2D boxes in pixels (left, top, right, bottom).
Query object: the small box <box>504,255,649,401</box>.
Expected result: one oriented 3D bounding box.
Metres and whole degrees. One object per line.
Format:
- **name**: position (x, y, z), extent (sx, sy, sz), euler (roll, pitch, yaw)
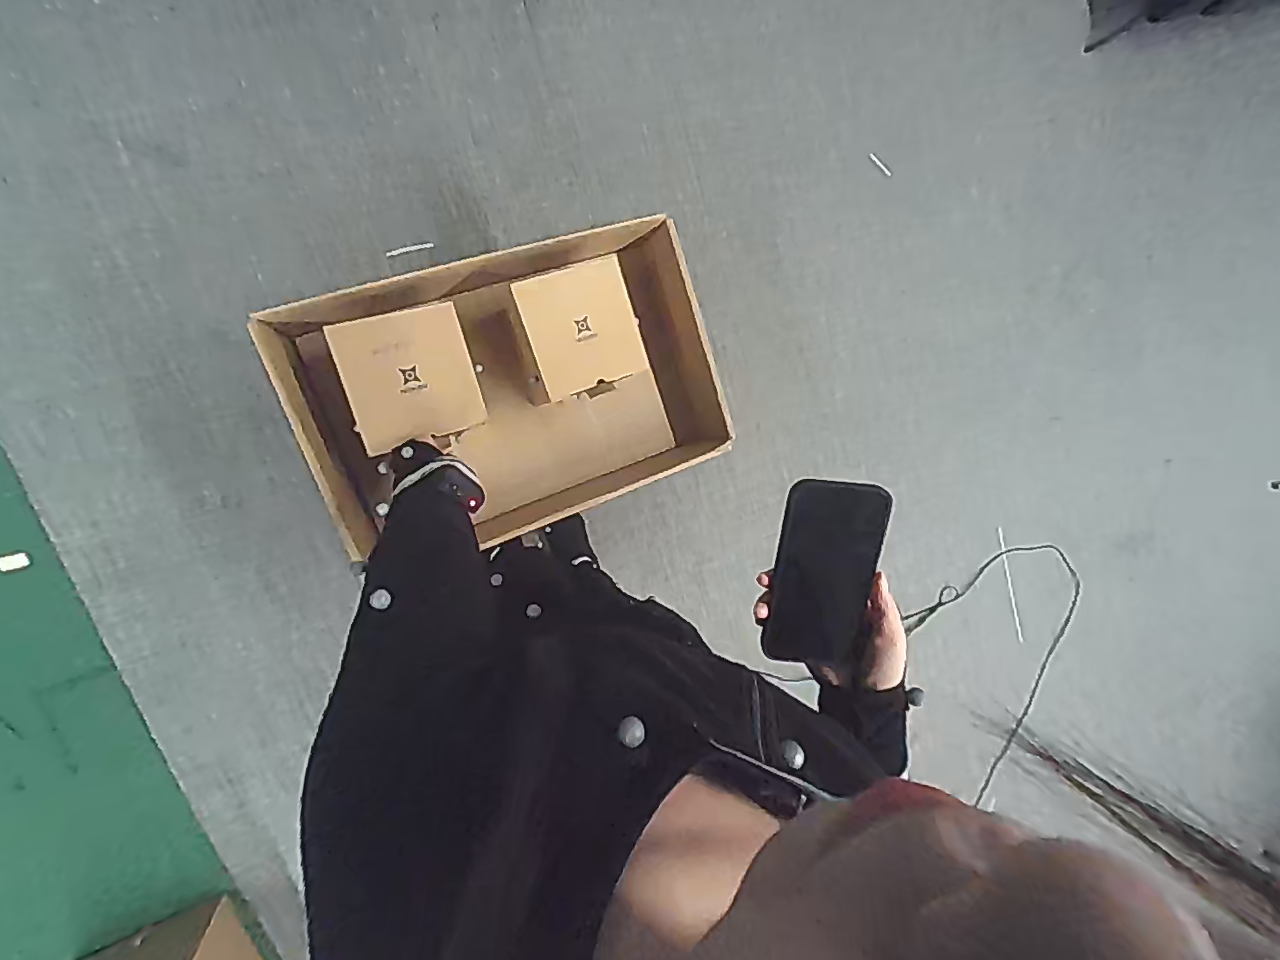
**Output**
- **small box**: position (-0.109, -0.233, 0.865), extent (0.168, 0.176, 0.179), euler (-21, 103, -15)
